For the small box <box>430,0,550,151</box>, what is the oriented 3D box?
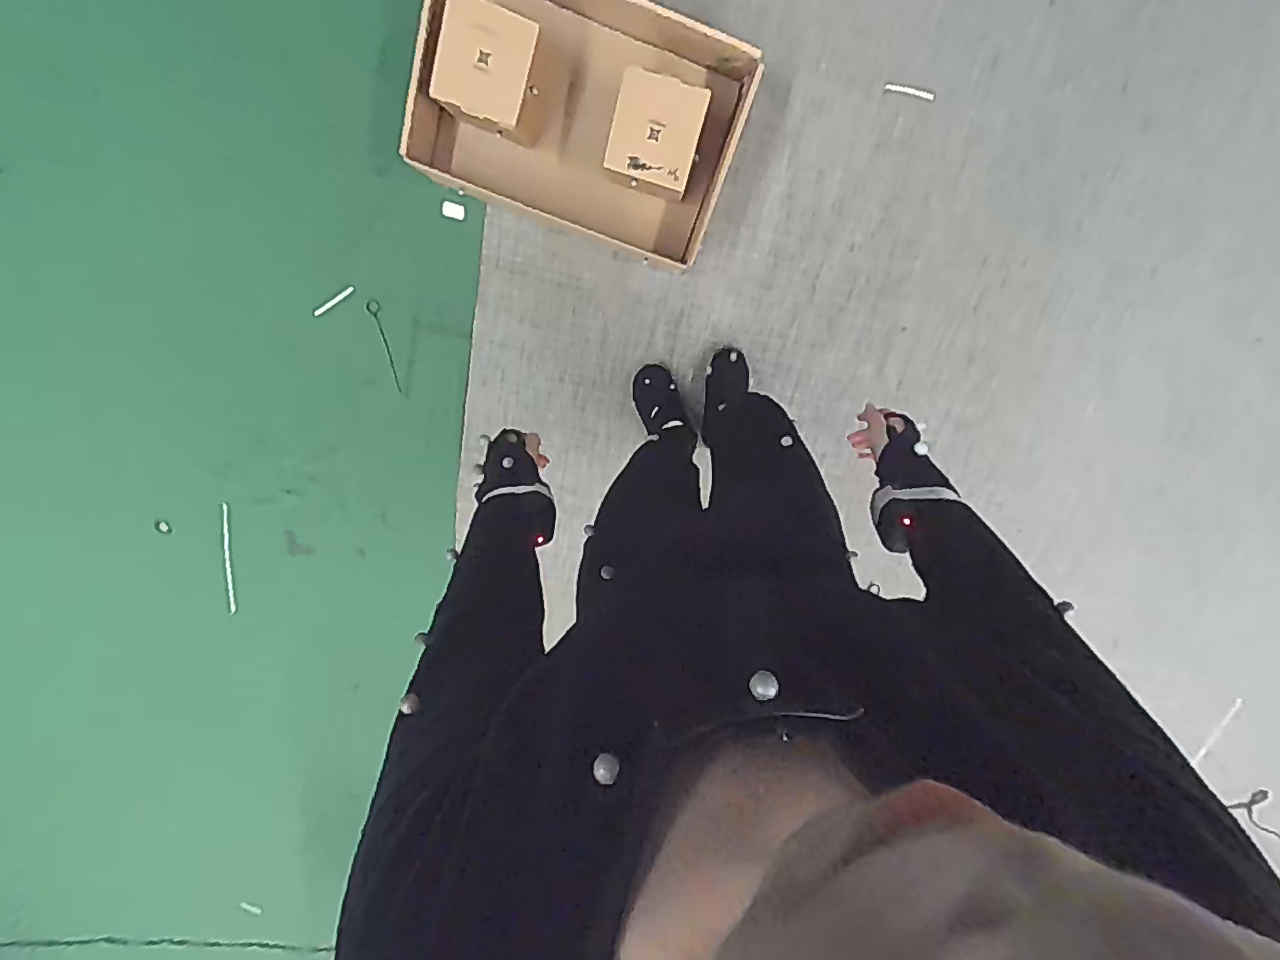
[{"bbox_3d":[-0.283,-0.775,1.053,0.168,0.176,0.179,19,109,-8],"label":"small box"}]
